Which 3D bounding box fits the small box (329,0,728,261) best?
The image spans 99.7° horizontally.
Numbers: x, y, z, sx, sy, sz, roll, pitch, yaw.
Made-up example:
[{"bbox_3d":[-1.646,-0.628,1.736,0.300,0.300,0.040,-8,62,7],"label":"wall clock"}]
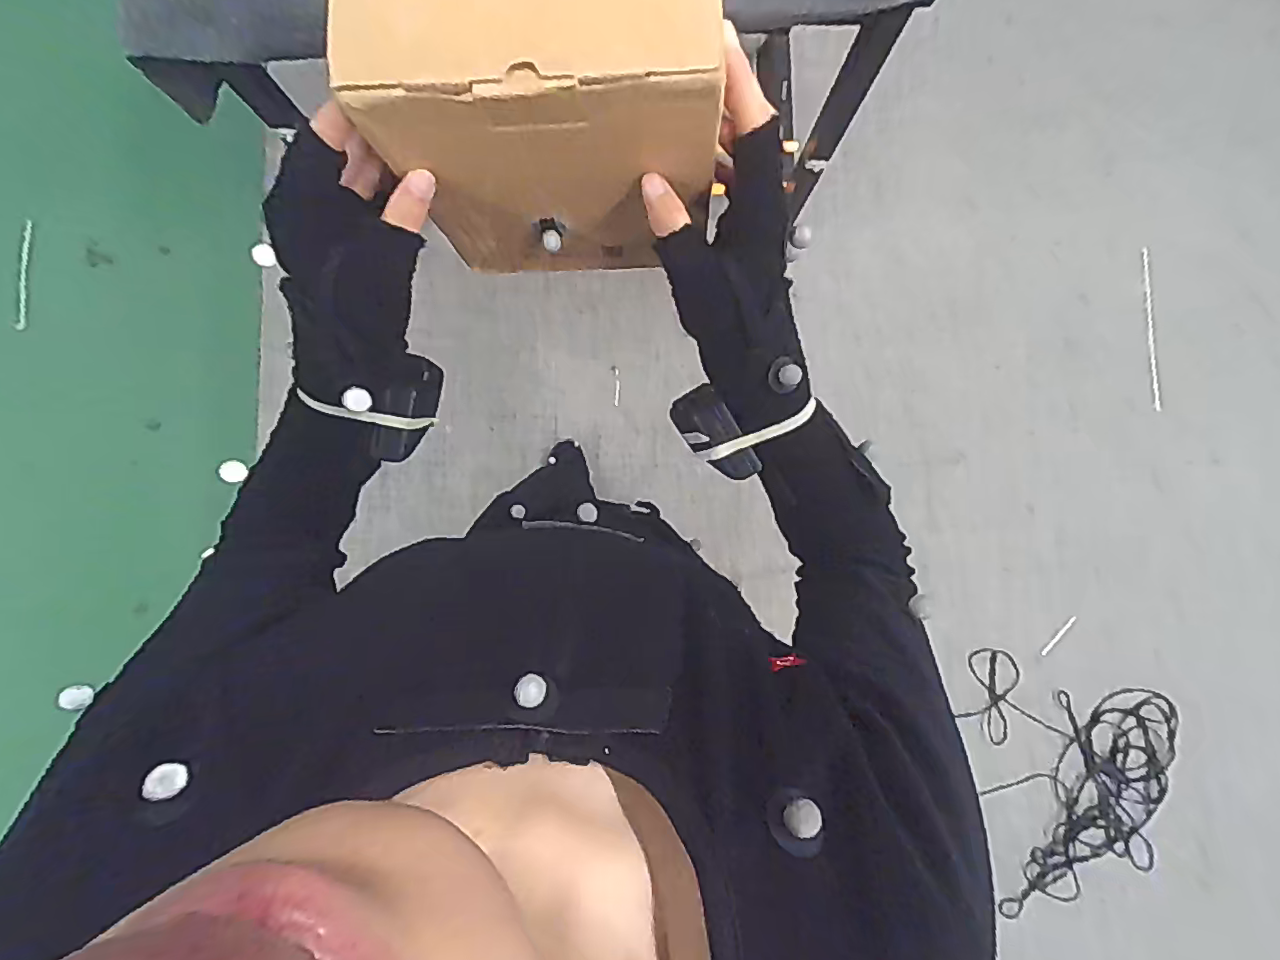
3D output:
[{"bbox_3d":[-0.043,-0.248,0.305,0.168,0.176,0.179,-1,86,3],"label":"small box"}]
